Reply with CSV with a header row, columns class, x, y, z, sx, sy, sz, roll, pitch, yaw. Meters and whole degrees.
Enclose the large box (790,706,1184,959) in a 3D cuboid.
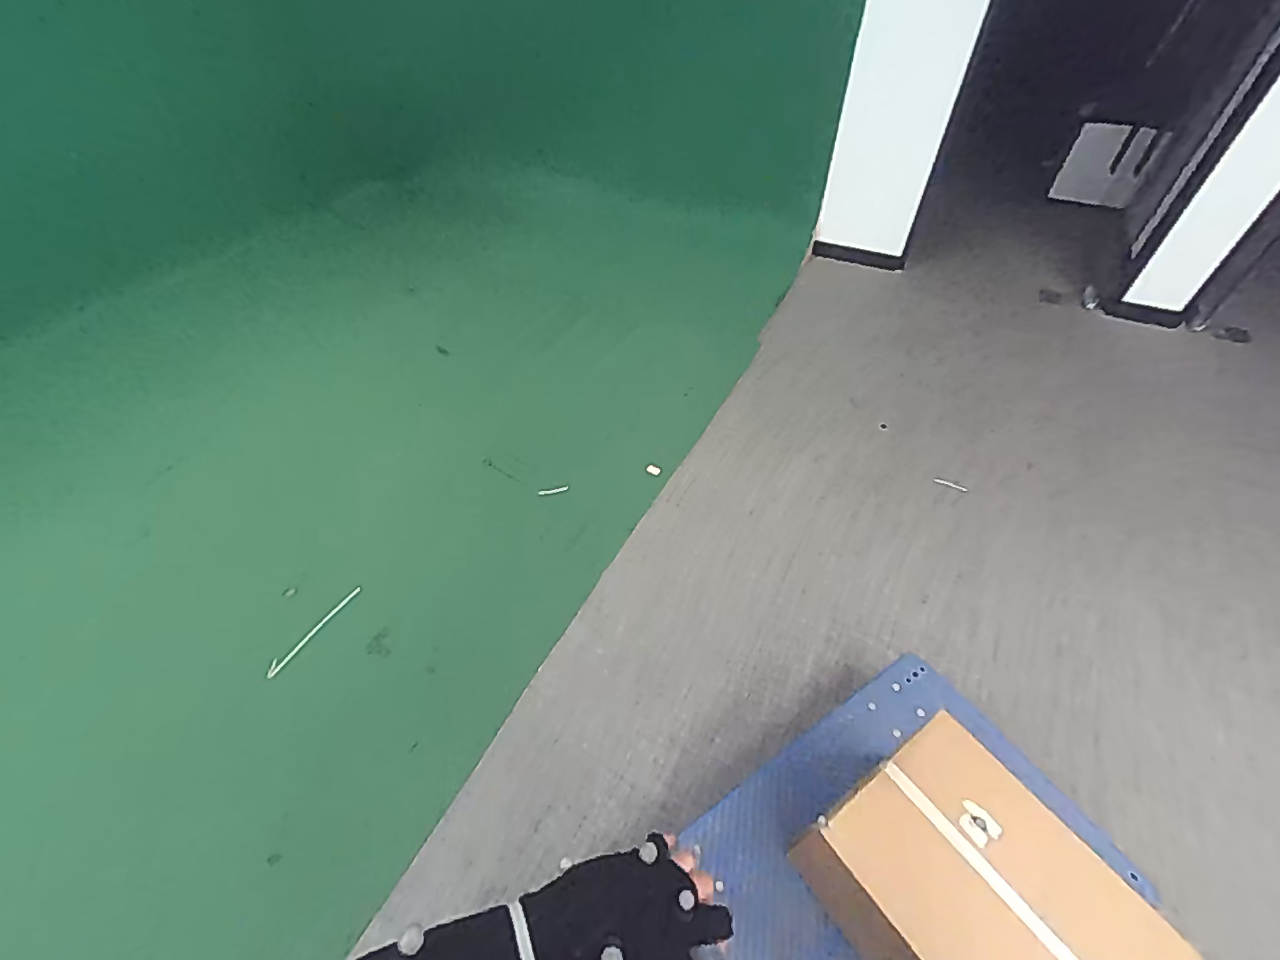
class,x,y,z,sx,sy,sz,roll,pitch,yaw
large box,0.524,0.683,0.911,0.320,0.320,0.408,-29,53,-21
